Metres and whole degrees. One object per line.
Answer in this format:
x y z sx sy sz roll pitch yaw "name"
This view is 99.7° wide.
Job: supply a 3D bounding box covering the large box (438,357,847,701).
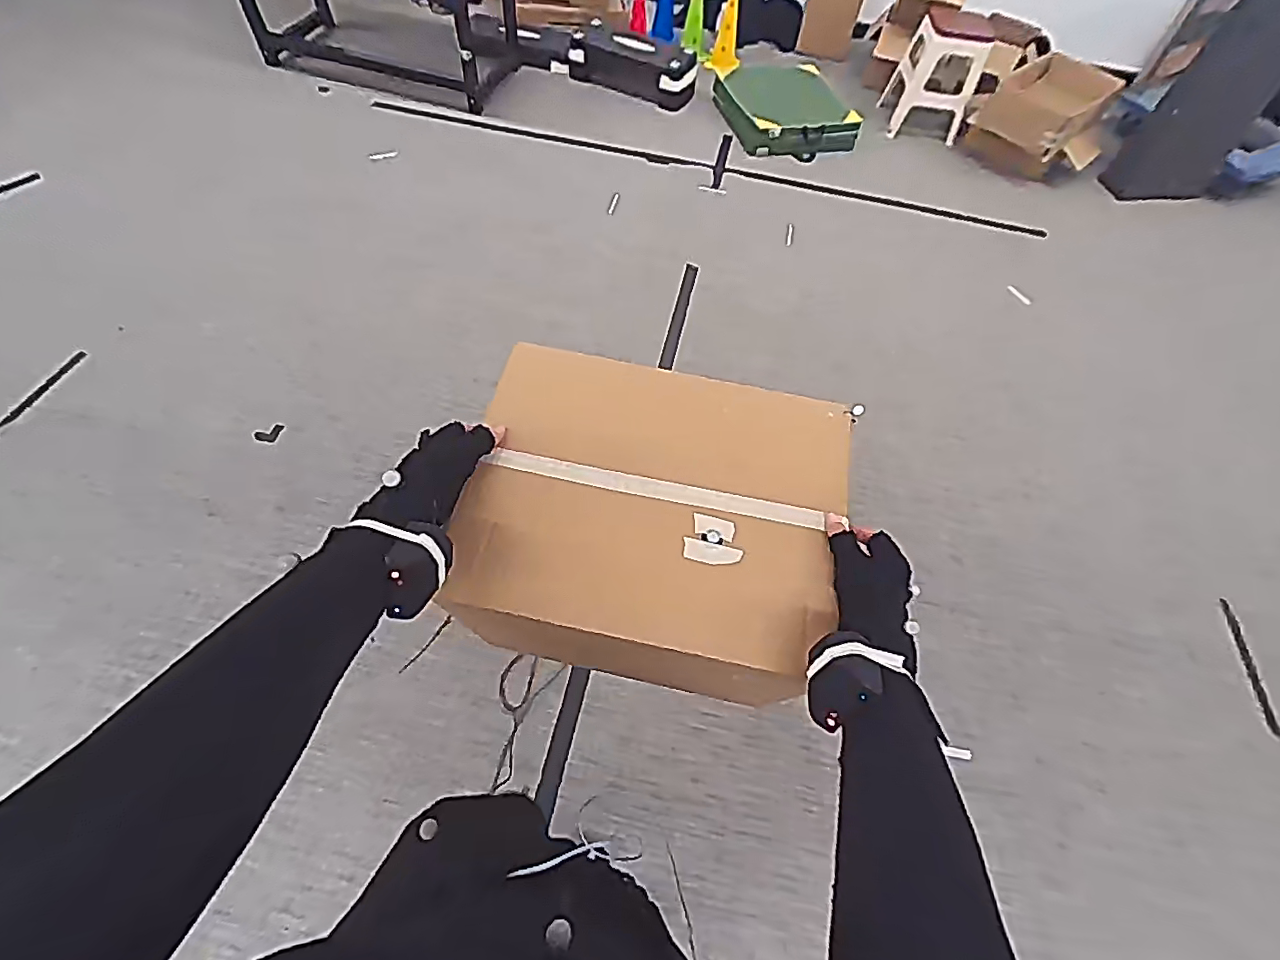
0.015 0.083 0.718 0.408 0.320 0.320 12 65 3 "large box"
